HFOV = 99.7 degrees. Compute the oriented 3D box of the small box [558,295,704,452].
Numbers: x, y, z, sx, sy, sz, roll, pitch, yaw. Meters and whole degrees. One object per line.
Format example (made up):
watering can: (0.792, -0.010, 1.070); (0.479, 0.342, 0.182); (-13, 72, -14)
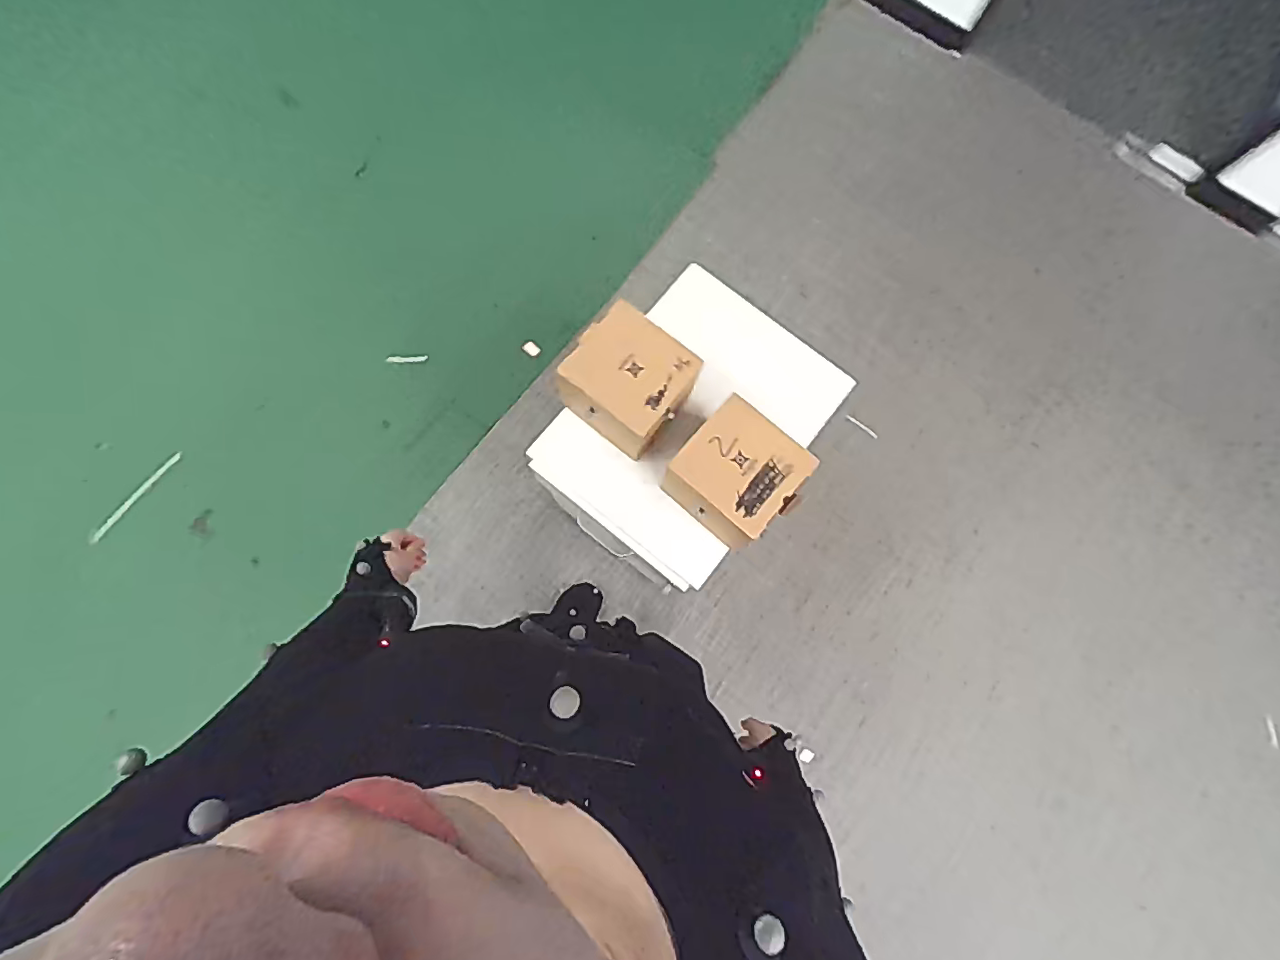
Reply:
small box: (-0.018, -0.171, 0.926); (0.179, 0.176, 0.168); (39, 80, 4)
